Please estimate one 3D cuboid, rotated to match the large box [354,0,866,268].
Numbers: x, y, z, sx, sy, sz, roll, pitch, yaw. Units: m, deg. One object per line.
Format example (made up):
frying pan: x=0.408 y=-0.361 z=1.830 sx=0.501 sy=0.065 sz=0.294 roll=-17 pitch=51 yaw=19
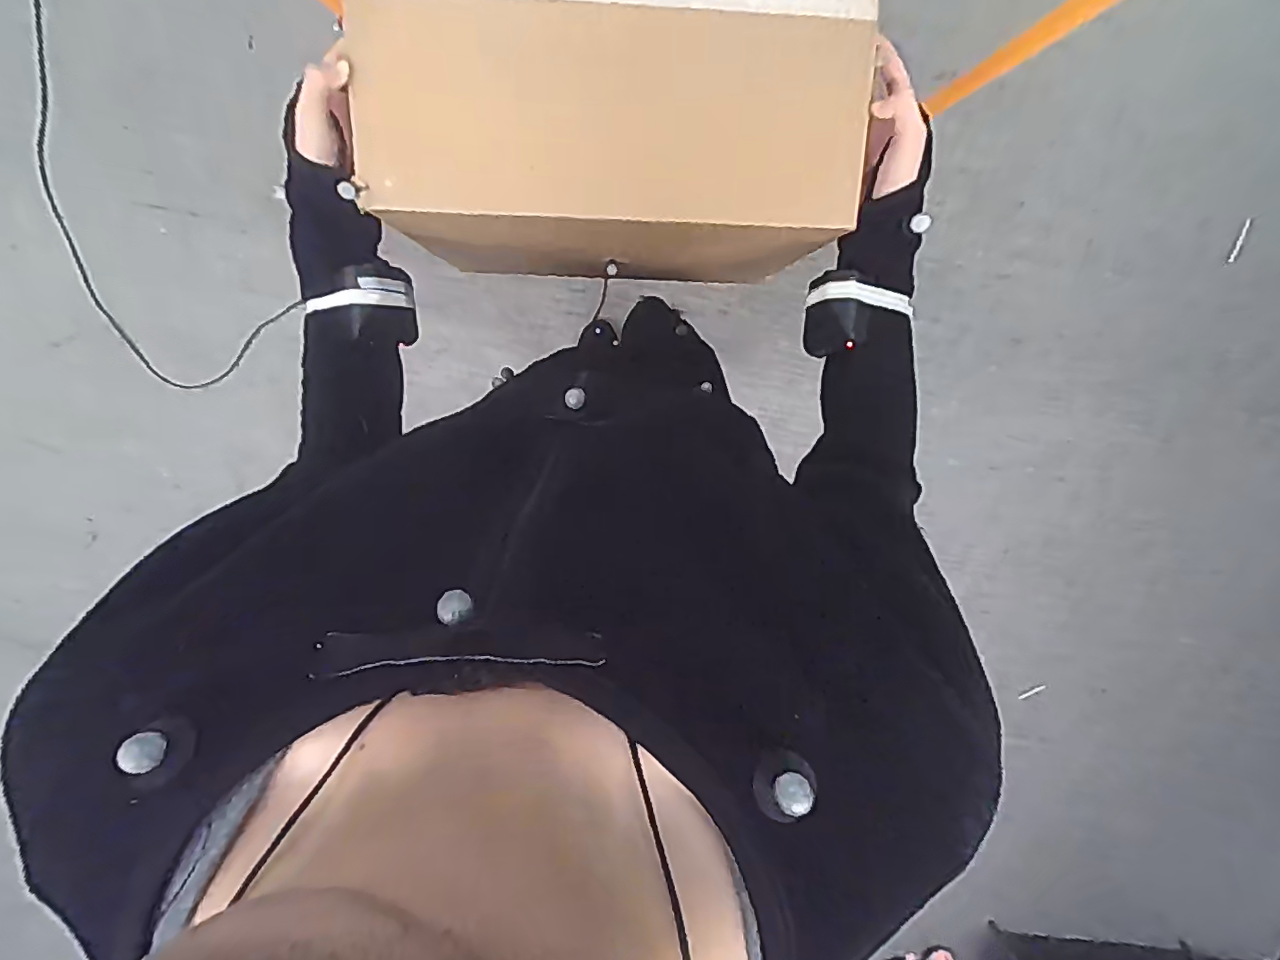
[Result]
large box: x=-0.025 y=-0.405 z=0.562 sx=0.408 sy=0.320 sz=0.320 roll=0 pitch=102 yaw=-3
